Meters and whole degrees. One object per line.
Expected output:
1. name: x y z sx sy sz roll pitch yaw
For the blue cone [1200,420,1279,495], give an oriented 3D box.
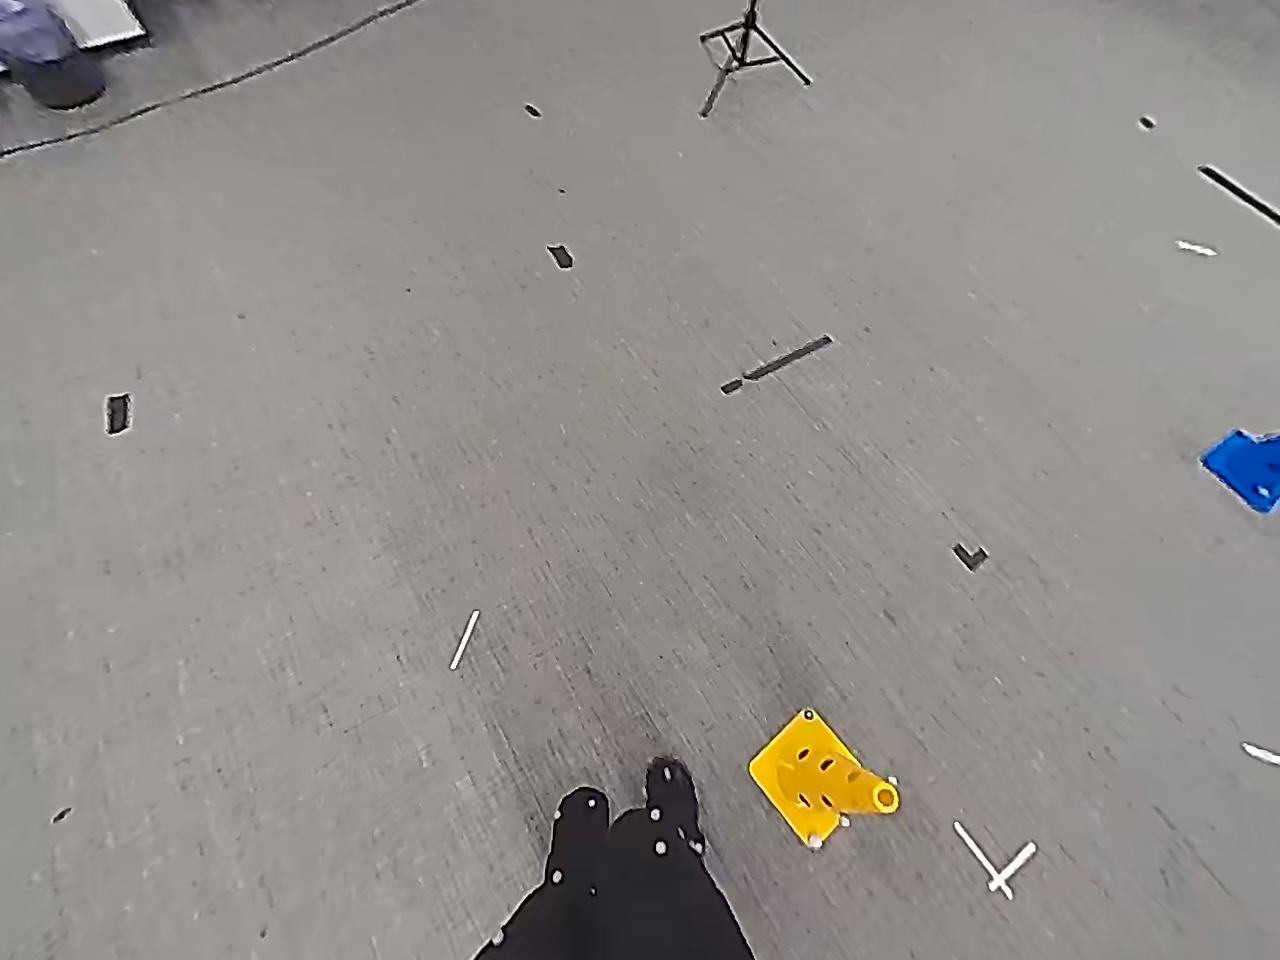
1. blue cone: 1.705 -0.131 1.368 0.193 0.380 0.192 -29 69 -14
